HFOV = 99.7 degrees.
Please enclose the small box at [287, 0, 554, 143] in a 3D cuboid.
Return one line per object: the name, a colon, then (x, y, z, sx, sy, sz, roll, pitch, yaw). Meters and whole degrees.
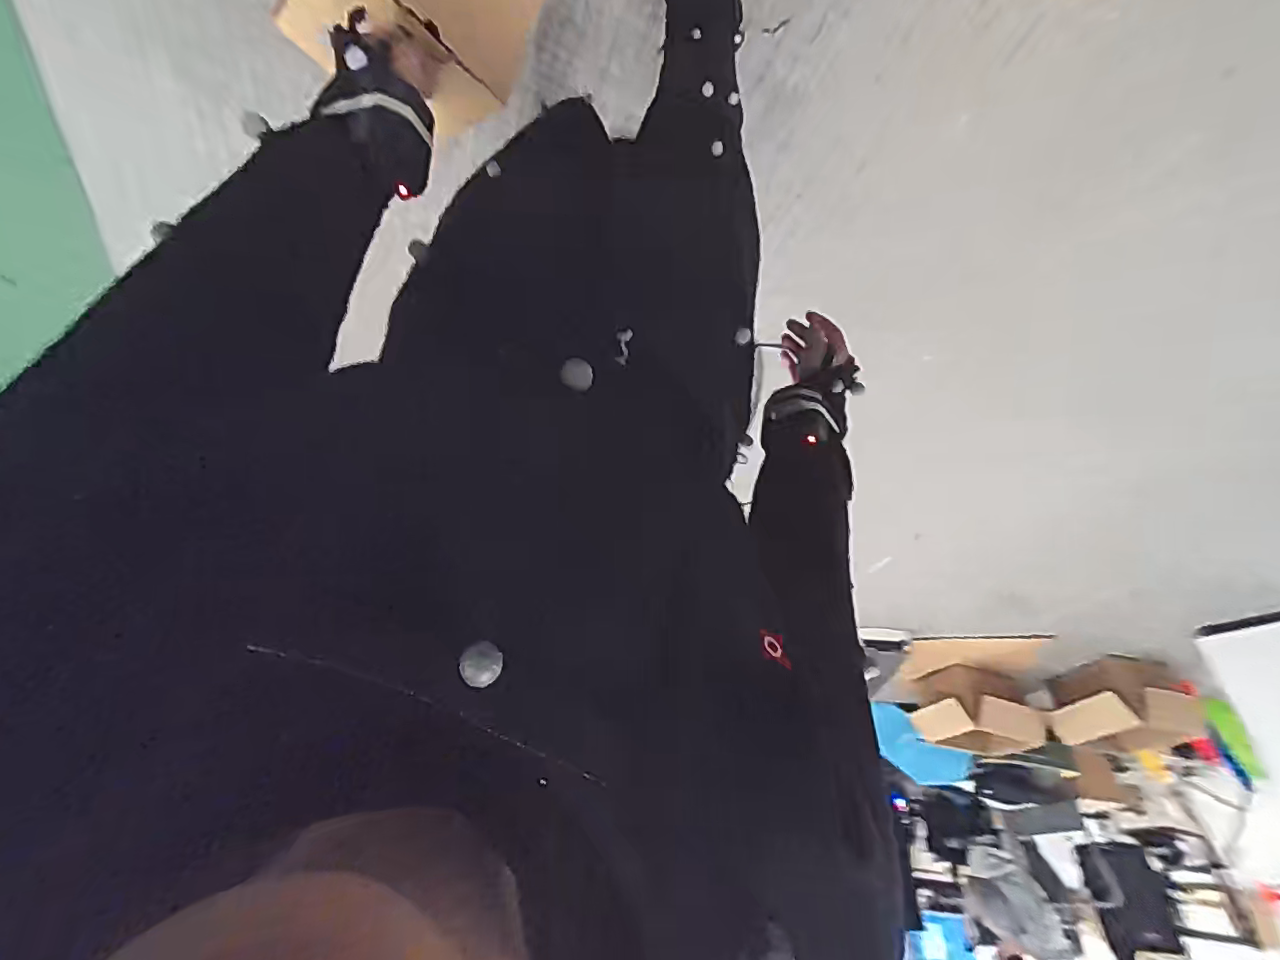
small box: (-0.208, -0.476, 0.527, 0.176, 0.179, 0.168, 12, 172, 41)
